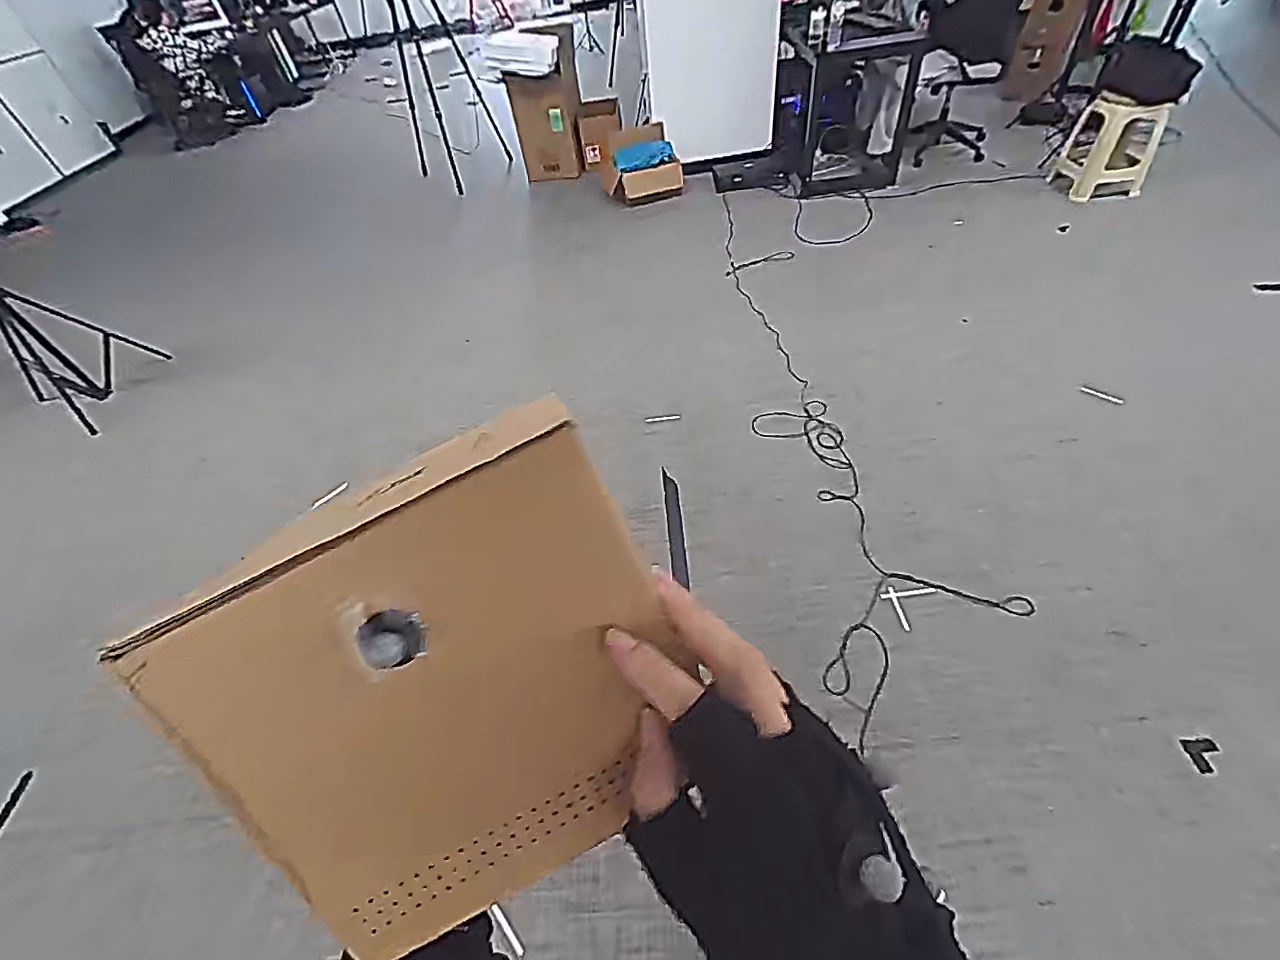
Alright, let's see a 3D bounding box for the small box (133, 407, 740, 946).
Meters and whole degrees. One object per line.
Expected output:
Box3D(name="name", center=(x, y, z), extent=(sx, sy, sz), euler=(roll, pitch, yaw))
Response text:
Box3D(name="small box", center=(-0.076, 0.078, 0.284), extent=(0.179, 0.176, 0.168), euler=(-27, 16, -6))
